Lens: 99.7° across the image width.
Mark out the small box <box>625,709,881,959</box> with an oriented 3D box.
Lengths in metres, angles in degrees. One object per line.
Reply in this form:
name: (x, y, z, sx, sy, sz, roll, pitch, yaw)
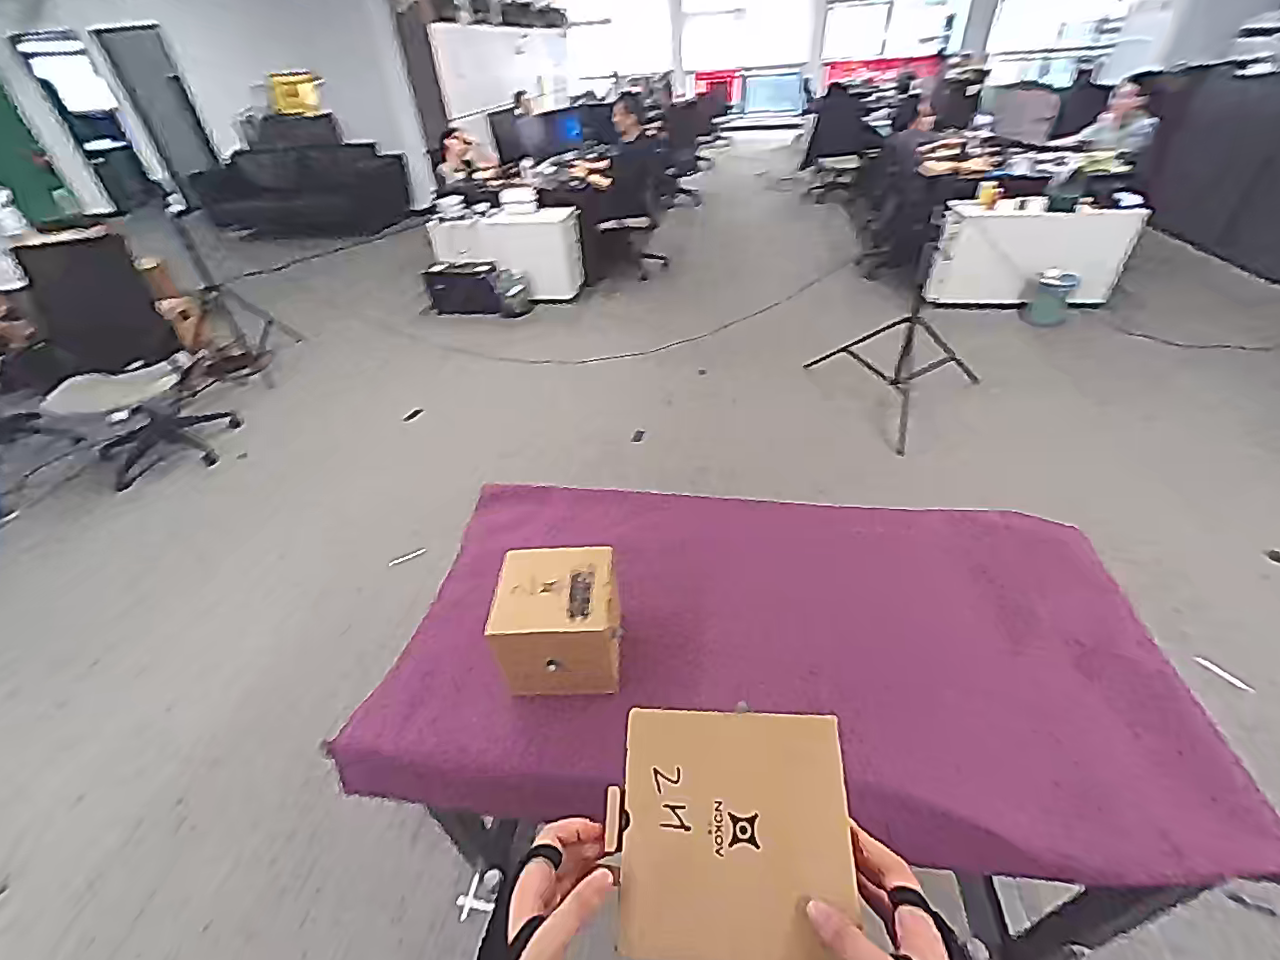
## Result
small box: (0.093, 0.309, 0.478, 0.179, 0.176, 0.168, -3, 55, 11)
